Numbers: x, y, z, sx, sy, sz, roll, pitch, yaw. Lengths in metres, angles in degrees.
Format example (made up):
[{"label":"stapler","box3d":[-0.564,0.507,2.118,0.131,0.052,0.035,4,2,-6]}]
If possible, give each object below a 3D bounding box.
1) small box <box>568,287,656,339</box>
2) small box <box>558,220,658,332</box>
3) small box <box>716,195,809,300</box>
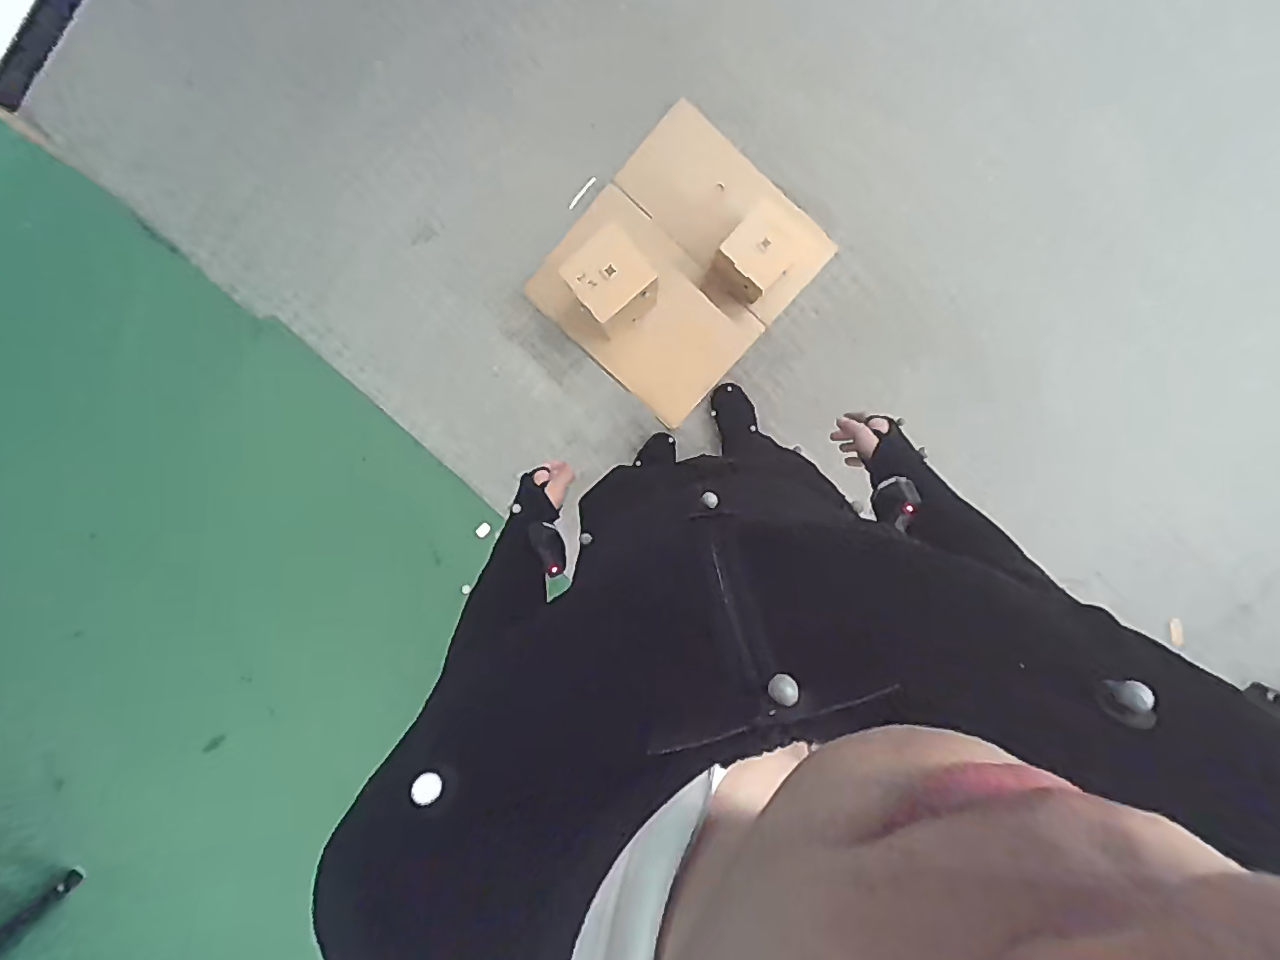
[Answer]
[{"label":"small box","box3d":[-0.073,-0.510,1.480,0.179,0.176,0.168,-39,94,6]},{"label":"small box","box3d":[-0.073,-0.485,1.316,0.179,0.176,0.168,-40,94,7]},{"label":"small box","box3d":[0.318,-0.613,1.452,0.168,0.176,0.179,43,98,-4]}]
